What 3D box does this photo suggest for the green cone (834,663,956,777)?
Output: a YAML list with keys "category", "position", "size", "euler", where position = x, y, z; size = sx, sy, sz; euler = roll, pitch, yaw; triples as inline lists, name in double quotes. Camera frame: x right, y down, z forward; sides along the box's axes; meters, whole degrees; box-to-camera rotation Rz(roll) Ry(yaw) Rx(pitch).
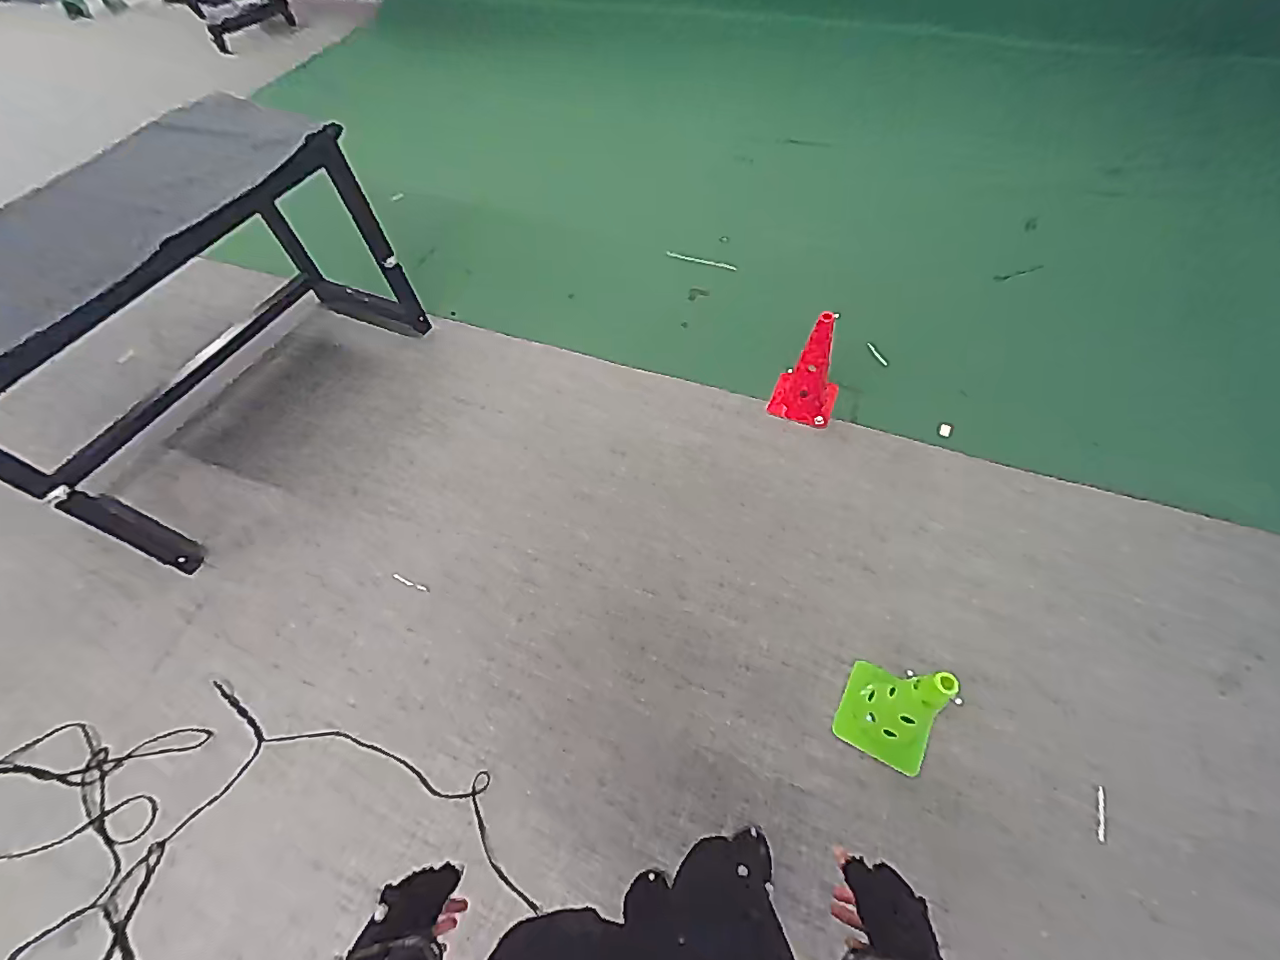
- category: "green cone"
  position: [0.571, 0.471, 1.142]
  size: [0.200, 0.368, 0.202]
  euler: [23, 62, 19]
